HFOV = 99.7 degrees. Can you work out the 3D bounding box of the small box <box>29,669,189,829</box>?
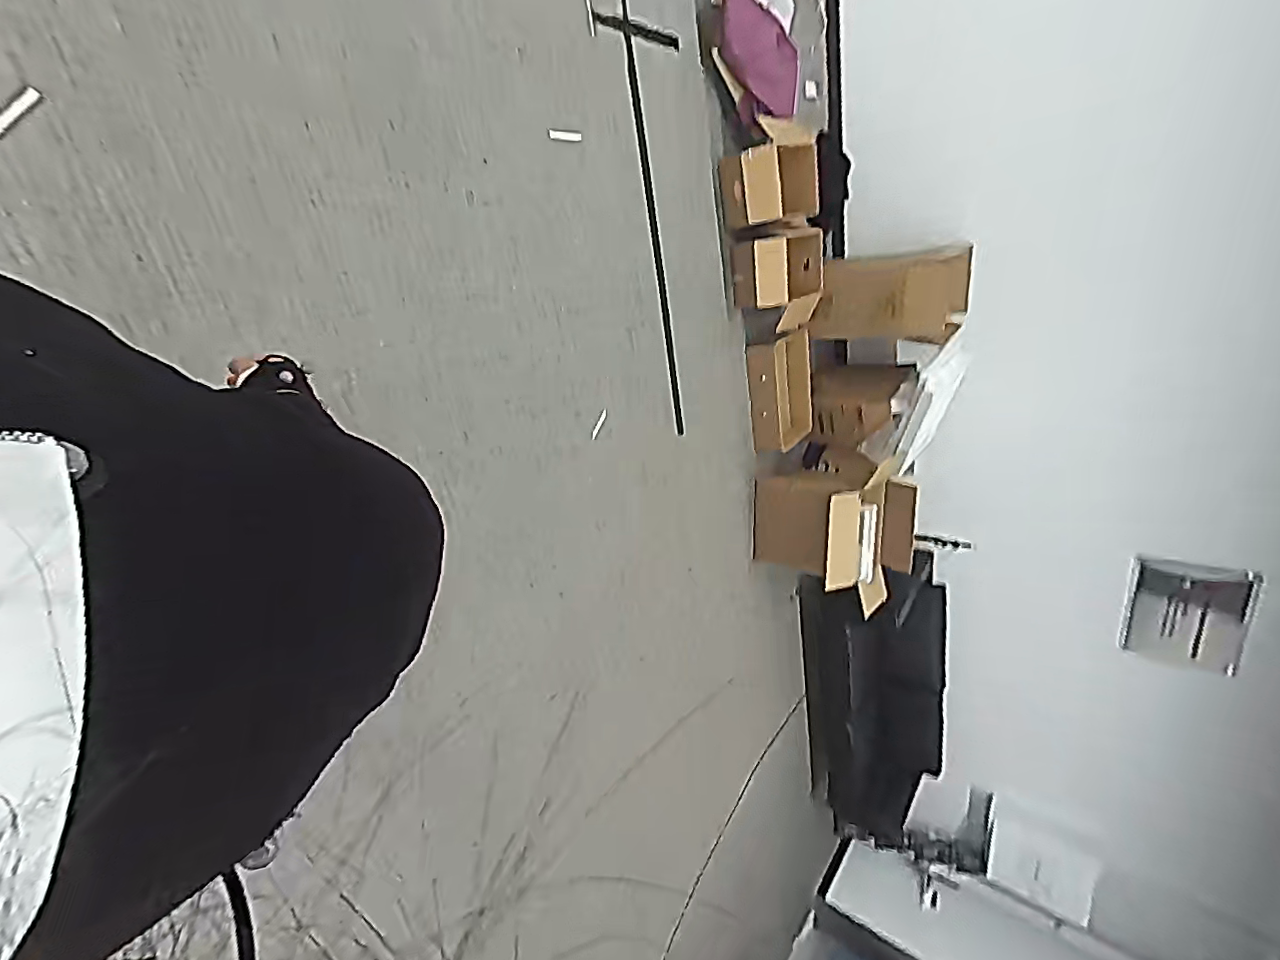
[{"bbox_3d":[-0.994,0.492,1.016,0.168,0.176,0.179,-26,116,-46],"label":"small box"}]
